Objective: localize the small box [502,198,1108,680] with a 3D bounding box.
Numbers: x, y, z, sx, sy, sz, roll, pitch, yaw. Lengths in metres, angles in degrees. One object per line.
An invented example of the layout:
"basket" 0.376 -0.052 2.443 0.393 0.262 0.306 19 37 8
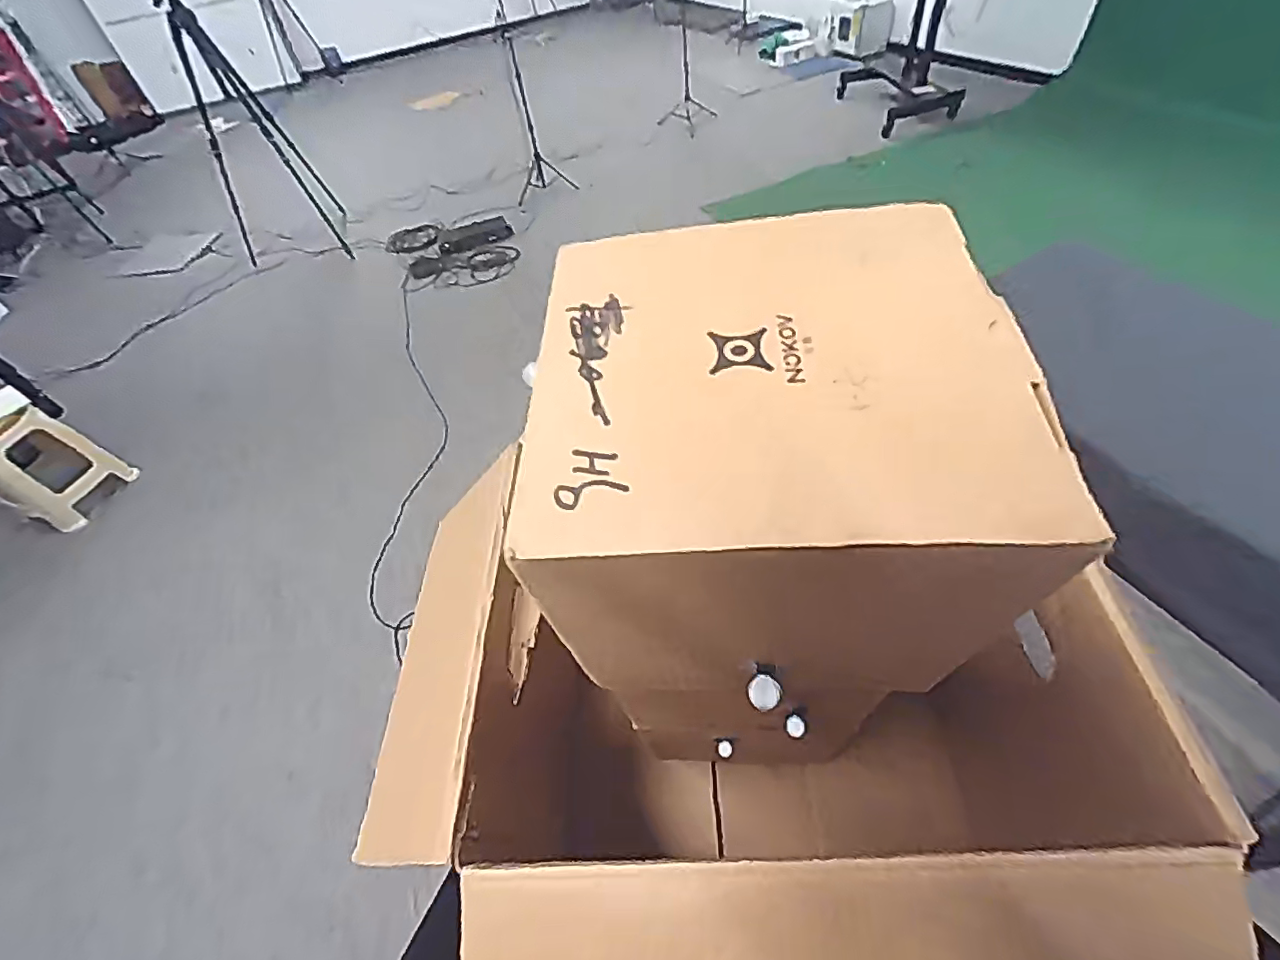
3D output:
"small box" 0.054 -0.007 0.265 0.179 0.176 0.168 -2 56 6
